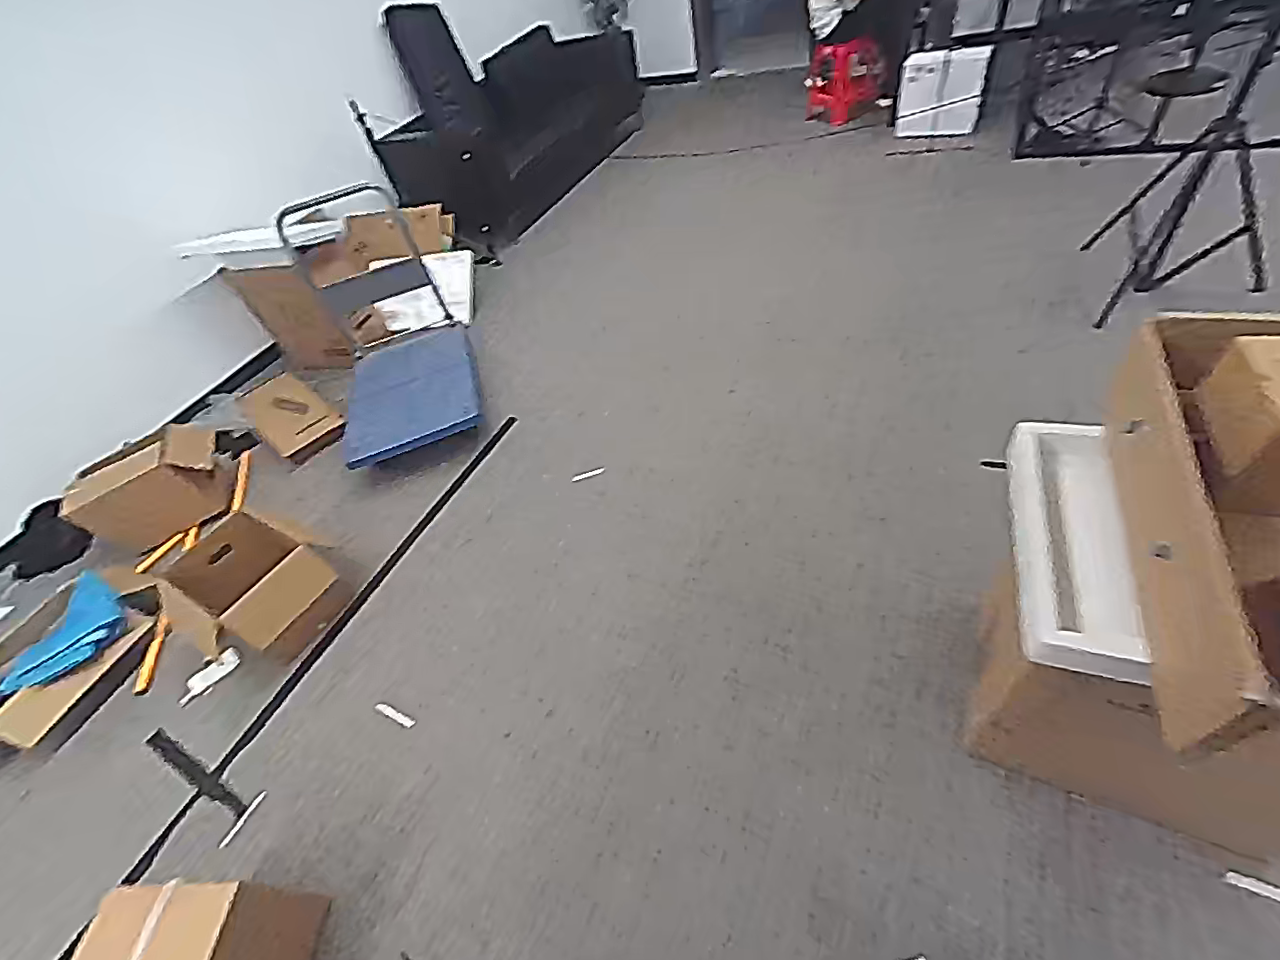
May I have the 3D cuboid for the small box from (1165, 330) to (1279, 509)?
[{"bbox_3d":[0.852,-0.073,0.701,0.179,0.176,0.168,7,53,19],"label":"small box"}]

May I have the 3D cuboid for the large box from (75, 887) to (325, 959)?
[{"bbox_3d":[-0.915,1.079,1.073,0.320,0.320,0.408,-9,48,8],"label":"large box"}]
